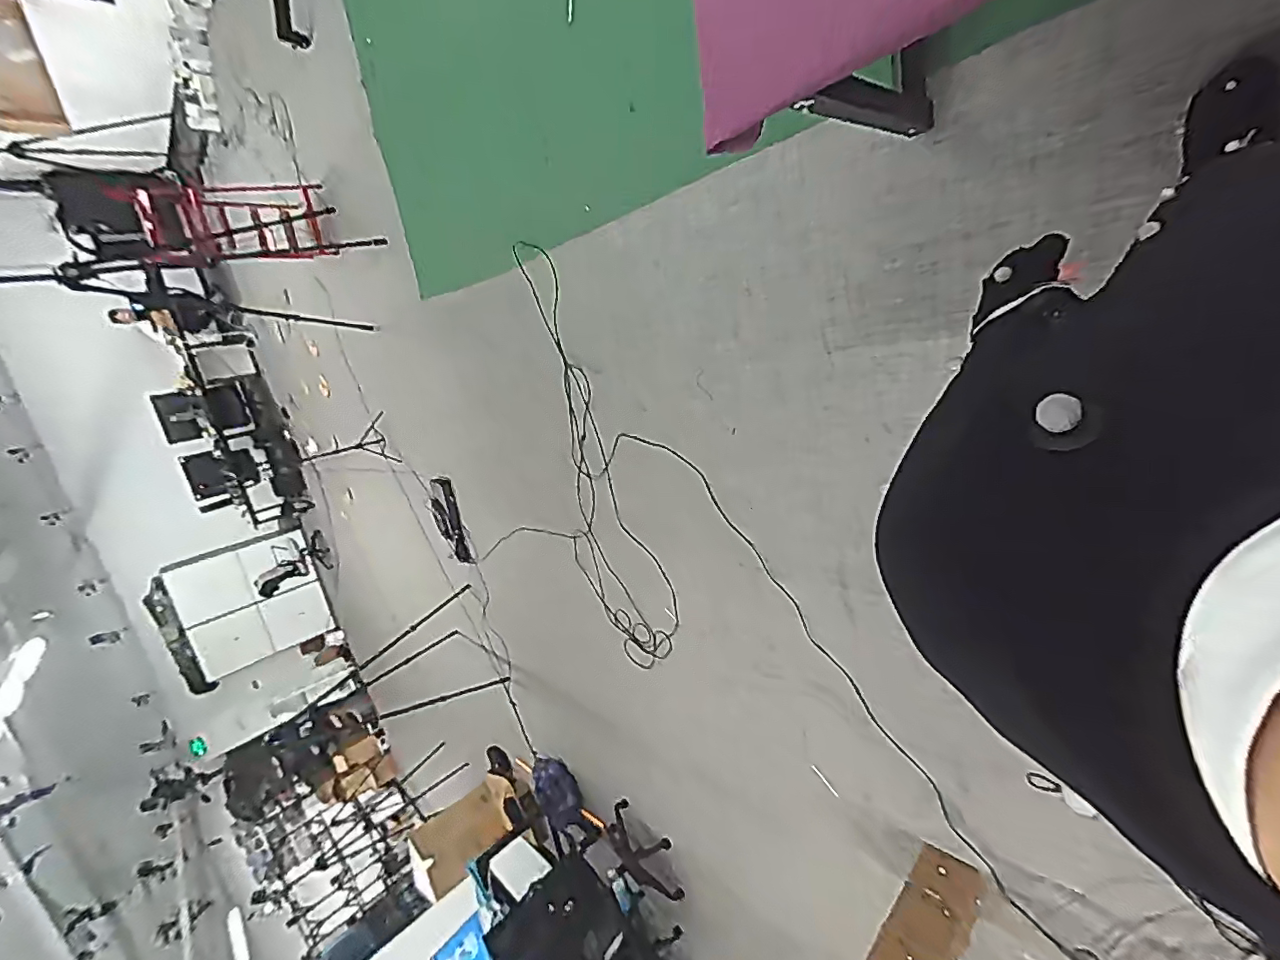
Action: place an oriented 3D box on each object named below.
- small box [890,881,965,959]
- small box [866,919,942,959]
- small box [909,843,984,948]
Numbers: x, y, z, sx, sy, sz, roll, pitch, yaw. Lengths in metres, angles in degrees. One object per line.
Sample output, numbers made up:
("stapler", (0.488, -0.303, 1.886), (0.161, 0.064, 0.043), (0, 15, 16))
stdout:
("small box", (0.885, 1.402, 1.668), (0.168, 0.176, 0.179), (7, 114, 46))
("small box", (0.764, 1.449, 1.570), (0.168, 0.176, 0.179), (14, 117, 44))
("small box", (1.005, 1.347, 1.770), (0.168, 0.176, 0.179), (4, 109, 50))
